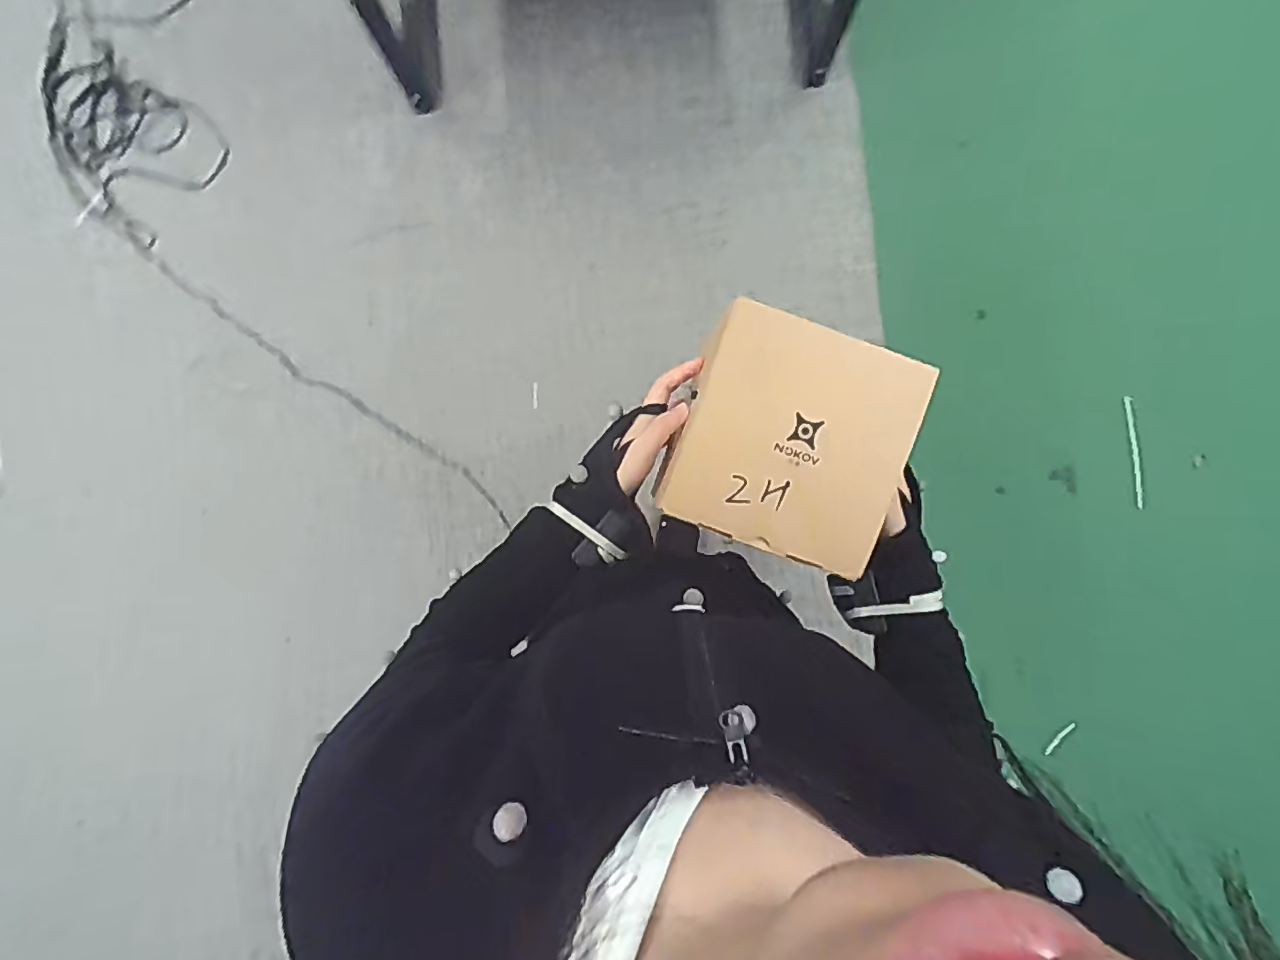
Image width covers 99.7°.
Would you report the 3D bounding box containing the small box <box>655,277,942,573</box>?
[{"bbox_3d":[0.114,-0.041,0.470,0.168,0.176,0.179,19,91,-1],"label":"small box"}]
